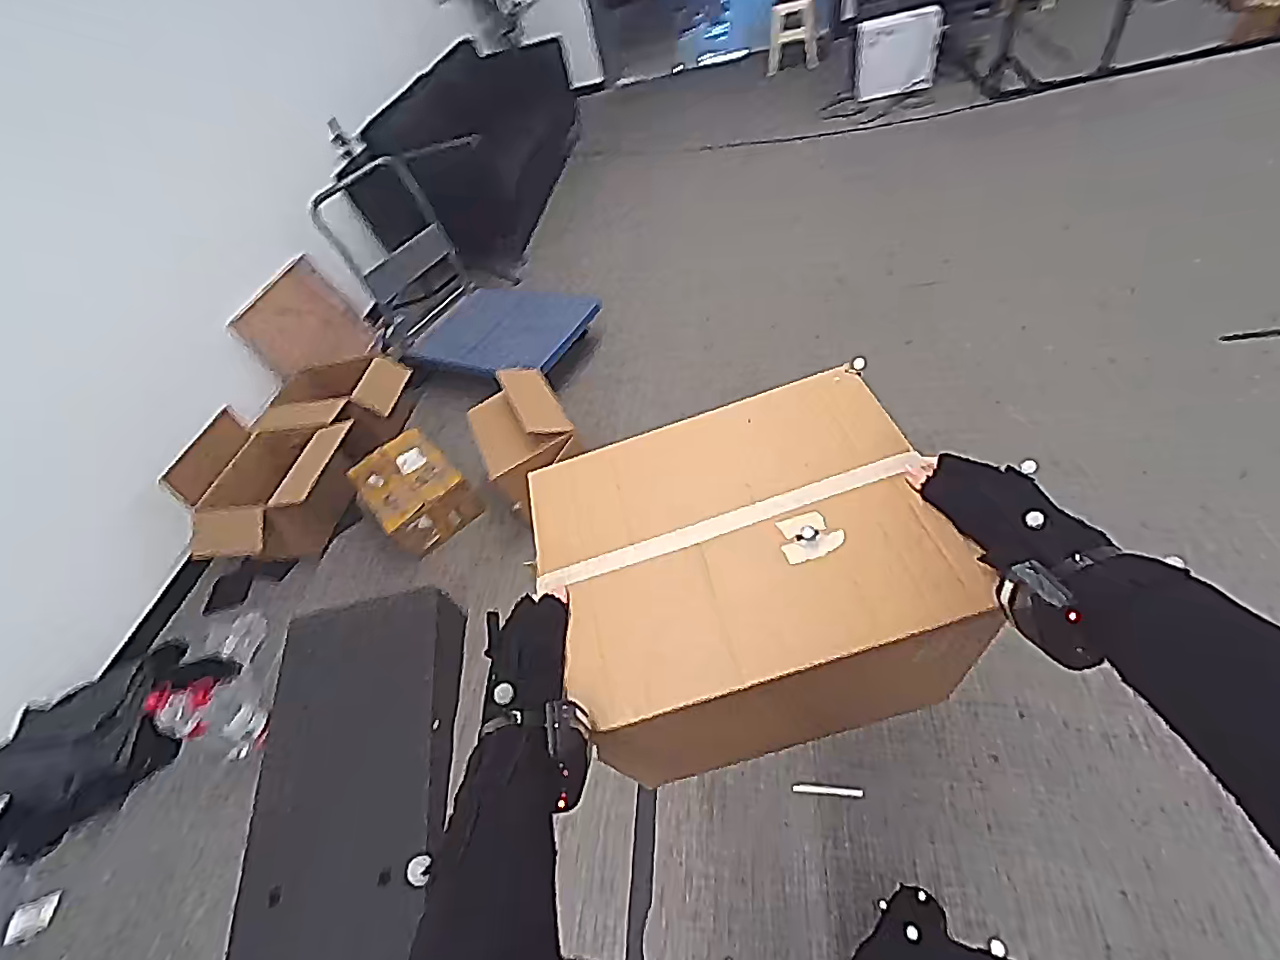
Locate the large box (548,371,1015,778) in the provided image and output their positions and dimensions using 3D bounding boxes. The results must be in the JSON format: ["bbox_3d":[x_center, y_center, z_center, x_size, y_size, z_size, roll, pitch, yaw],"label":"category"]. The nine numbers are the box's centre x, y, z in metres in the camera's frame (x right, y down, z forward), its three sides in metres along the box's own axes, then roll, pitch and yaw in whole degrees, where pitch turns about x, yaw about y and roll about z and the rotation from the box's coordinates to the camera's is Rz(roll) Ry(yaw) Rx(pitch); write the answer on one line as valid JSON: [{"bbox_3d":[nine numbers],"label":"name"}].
[{"bbox_3d":[0.138,0.131,0.679,0.408,0.320,0.320,-18,52,3],"label":"large box"}]
